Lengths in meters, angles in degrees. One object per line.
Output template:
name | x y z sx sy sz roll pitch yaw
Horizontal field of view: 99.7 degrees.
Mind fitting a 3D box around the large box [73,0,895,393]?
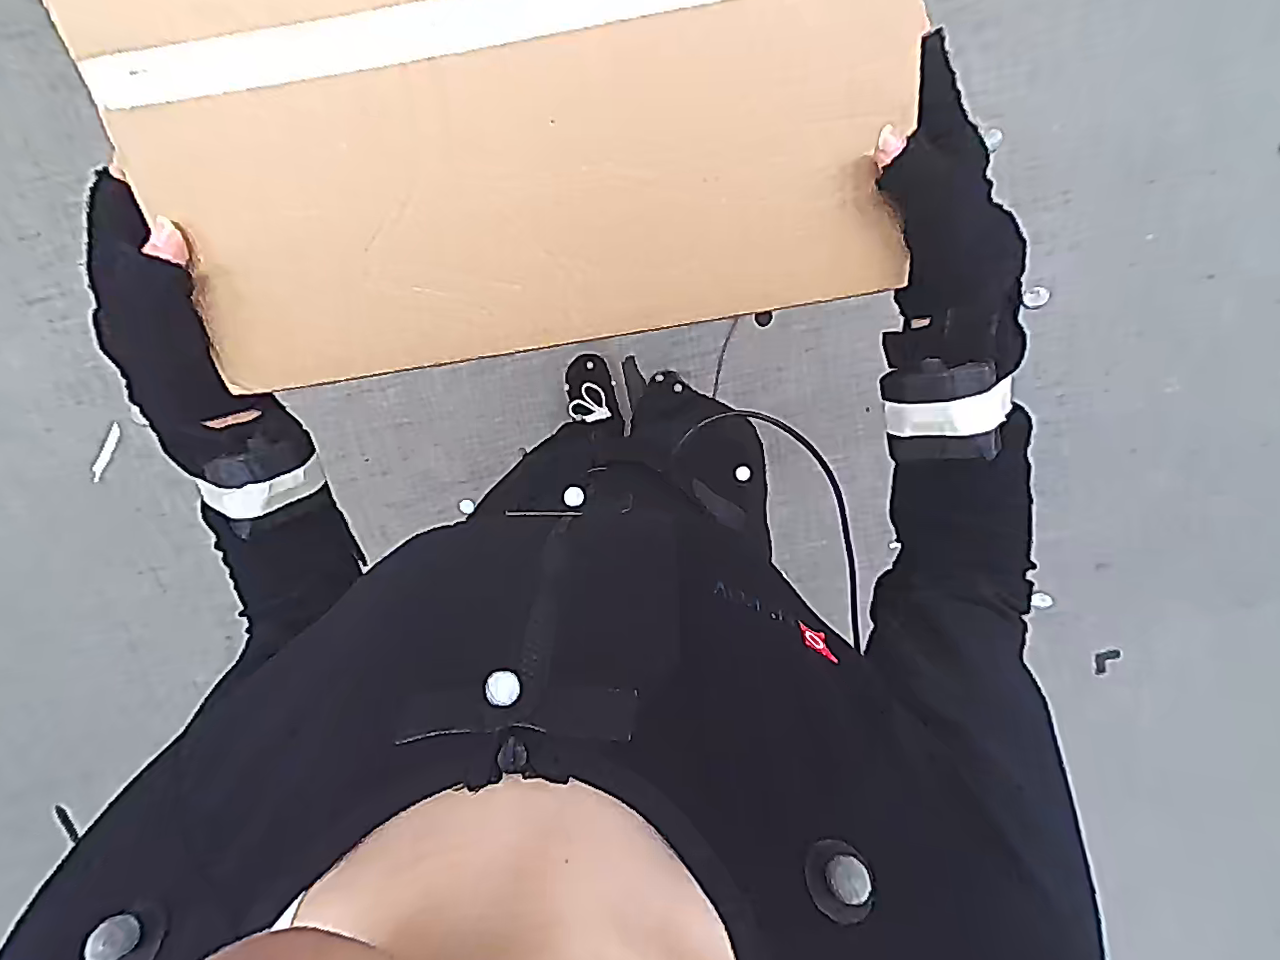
large box | -0.073 -0.283 0.407 0.408 0.320 0.320 -9 112 2
